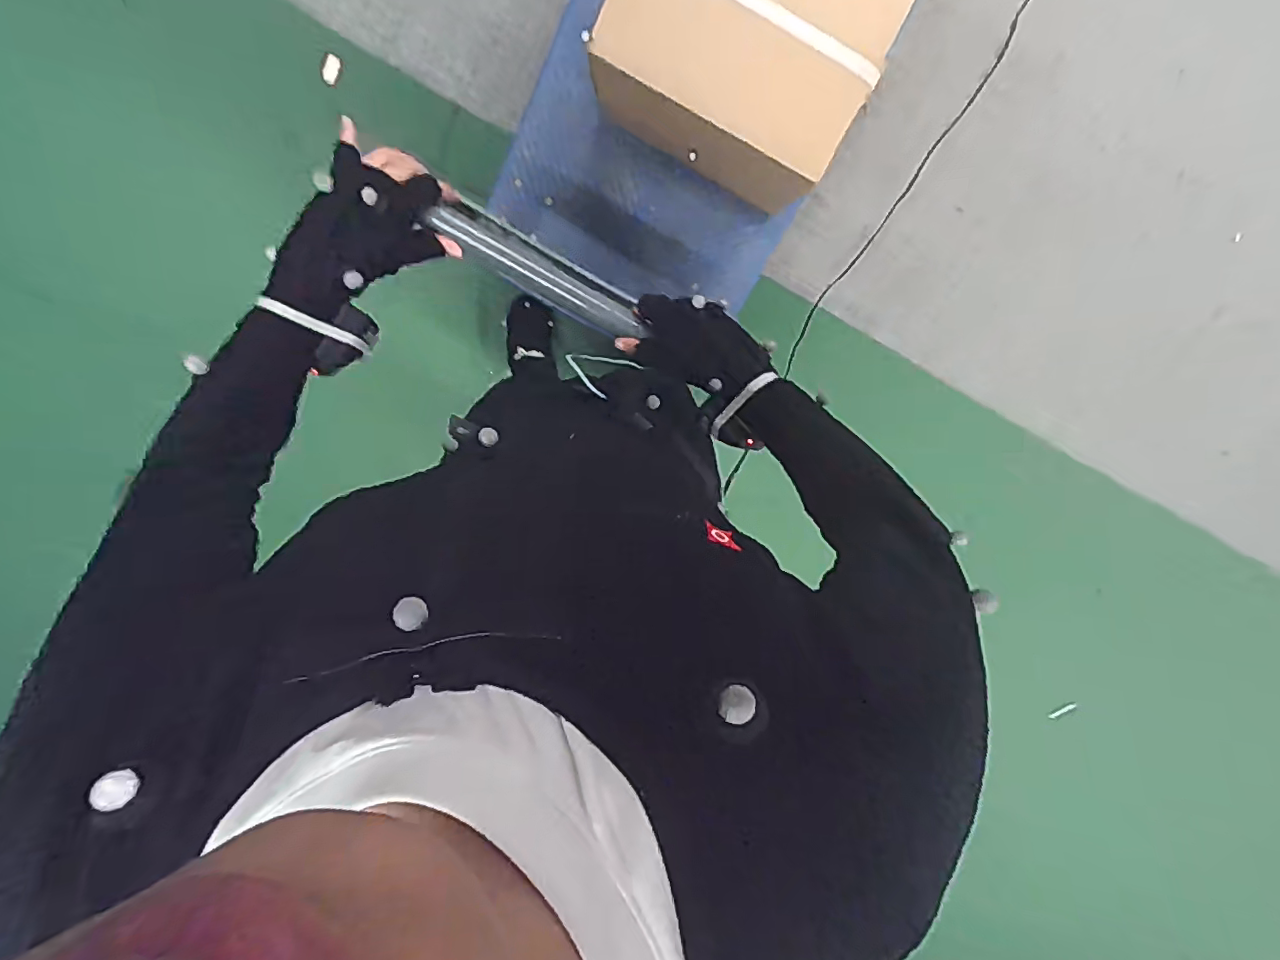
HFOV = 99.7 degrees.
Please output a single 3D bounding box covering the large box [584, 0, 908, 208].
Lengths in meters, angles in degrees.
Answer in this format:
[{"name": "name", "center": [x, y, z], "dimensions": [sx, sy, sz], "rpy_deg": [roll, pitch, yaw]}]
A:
[{"name": "large box", "center": [0.165, -0.726, 0.921], "dimensions": [0.408, 0.320, 0.320], "rpy_deg": [26, 106, -7]}]
